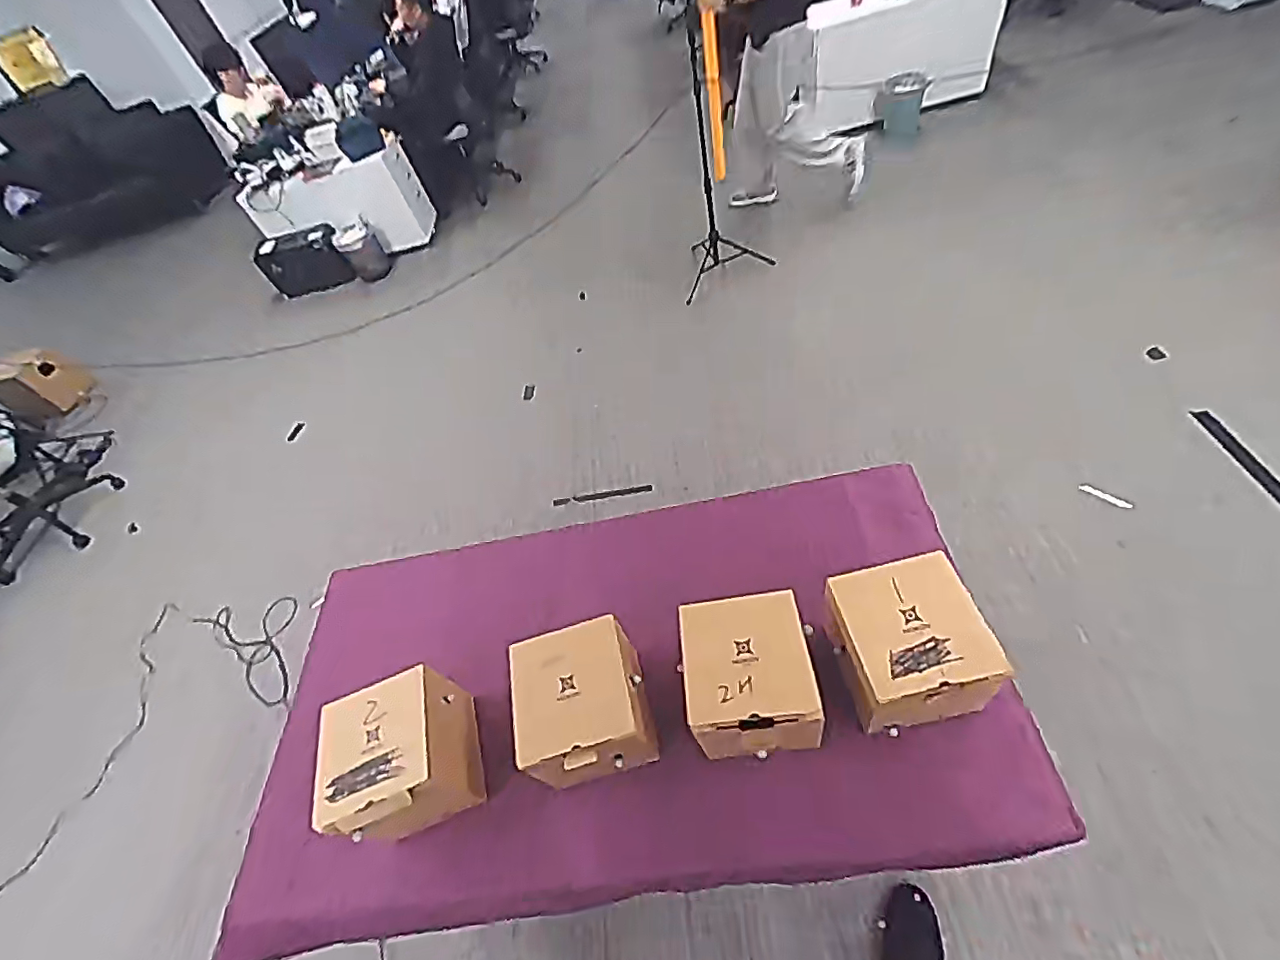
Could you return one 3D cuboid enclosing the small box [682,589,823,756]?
[{"bbox_3d":[0.158,0.283,0.785,0.168,0.176,0.179,-10,51,8],"label":"small box"}]

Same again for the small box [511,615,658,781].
[{"bbox_3d":[-0.081,0.336,0.816,0.168,0.176,0.179,-18,50,2],"label":"small box"}]

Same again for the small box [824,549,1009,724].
[{"bbox_3d":[0.371,0.229,0.764,0.168,0.176,0.179,-15,50,5],"label":"small box"}]
